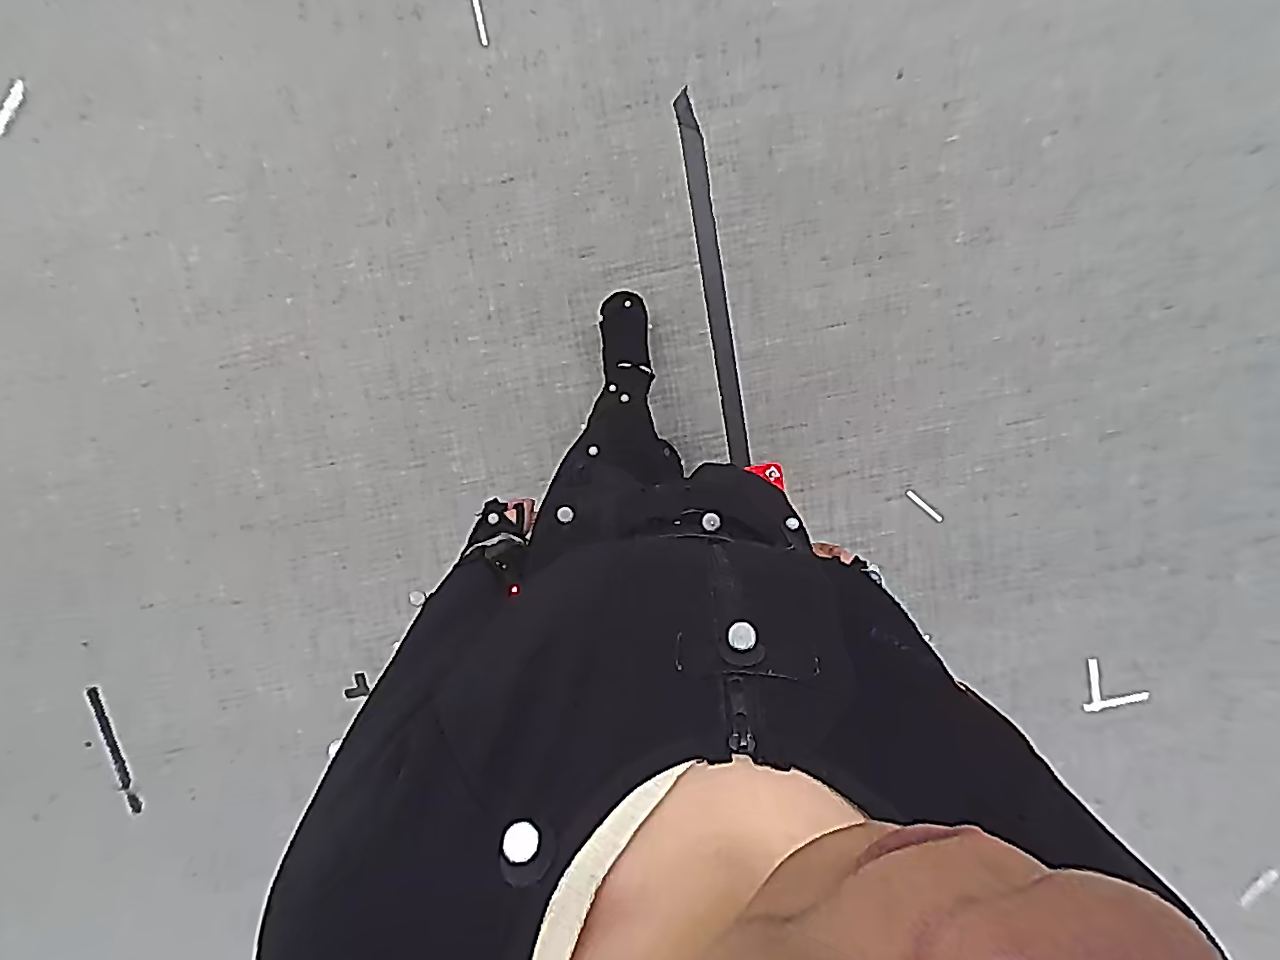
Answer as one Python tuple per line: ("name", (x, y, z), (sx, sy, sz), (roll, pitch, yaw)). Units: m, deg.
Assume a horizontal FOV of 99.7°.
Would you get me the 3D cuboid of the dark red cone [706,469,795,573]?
("dark red cone", (0.270, 0.112, 1.183), (0.201, 0.394, 0.202), (-11, 101, 3))
